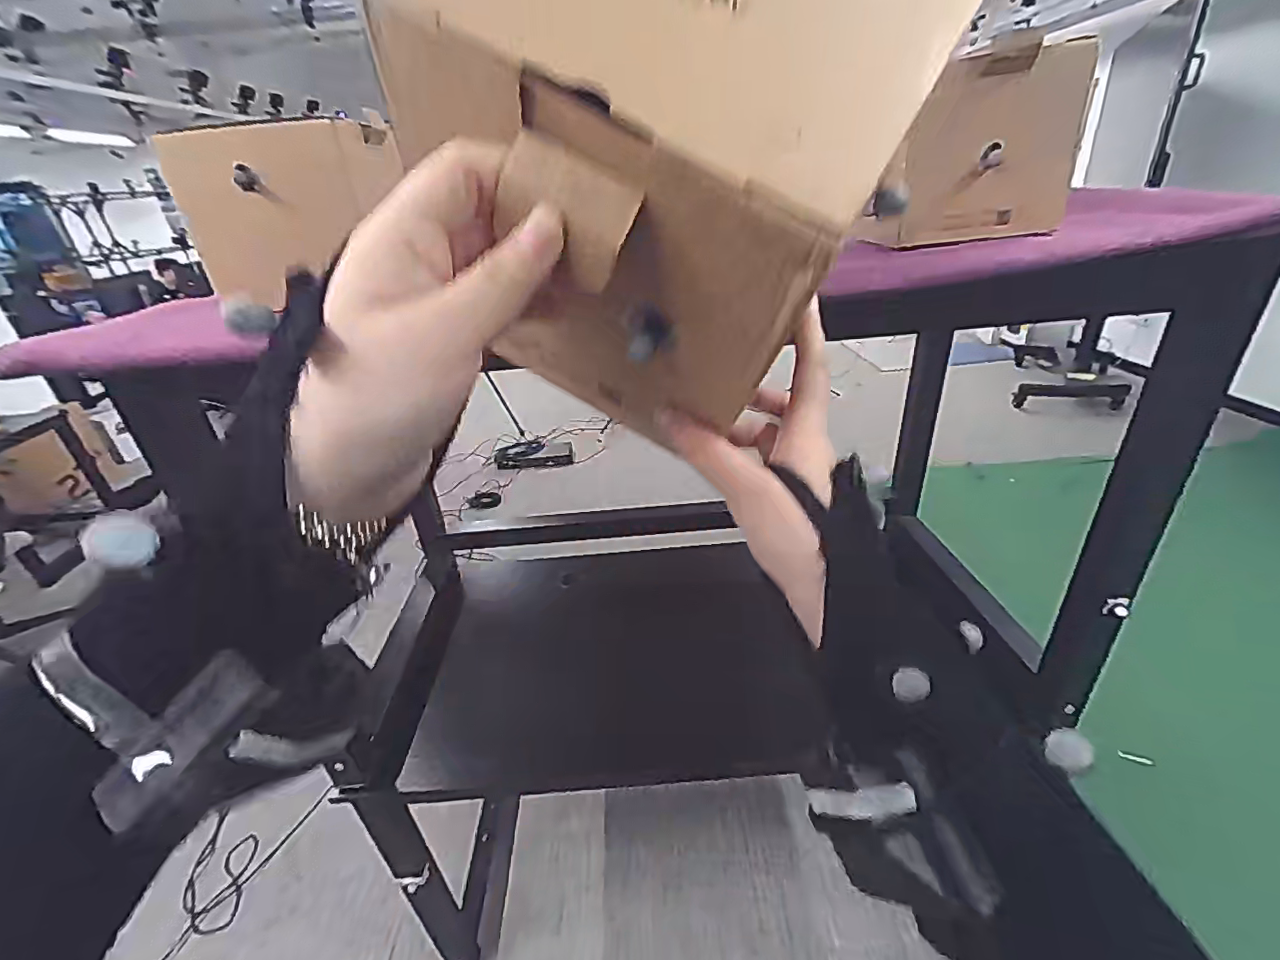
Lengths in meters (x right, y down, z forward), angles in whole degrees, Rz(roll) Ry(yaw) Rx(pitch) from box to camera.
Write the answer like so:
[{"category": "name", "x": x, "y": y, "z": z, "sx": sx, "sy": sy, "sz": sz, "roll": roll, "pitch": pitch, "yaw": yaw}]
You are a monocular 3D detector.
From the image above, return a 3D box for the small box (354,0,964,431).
[{"category": "small box", "x": 0.015, "y": -0.152, "z": 0.249, "sx": 0.168, "sy": 0.176, "sz": 0.179, "roll": 30, "pitch": 67, "yaw": 3}]

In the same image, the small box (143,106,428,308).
[{"category": "small box", "x": -0.361, "y": -0.293, "z": 0.594, "sx": 0.179, "sy": 0.176, "sz": 0.168, "roll": -5, "pitch": 30, "yaw": 0}]

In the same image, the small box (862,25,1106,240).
[{"category": "small box", "x": 0.360, "y": -0.370, "z": 0.607, "sx": 0.168, "sy": 0.176, "sz": 0.179, "roll": -3, "pitch": 27, "yaw": 7}]
